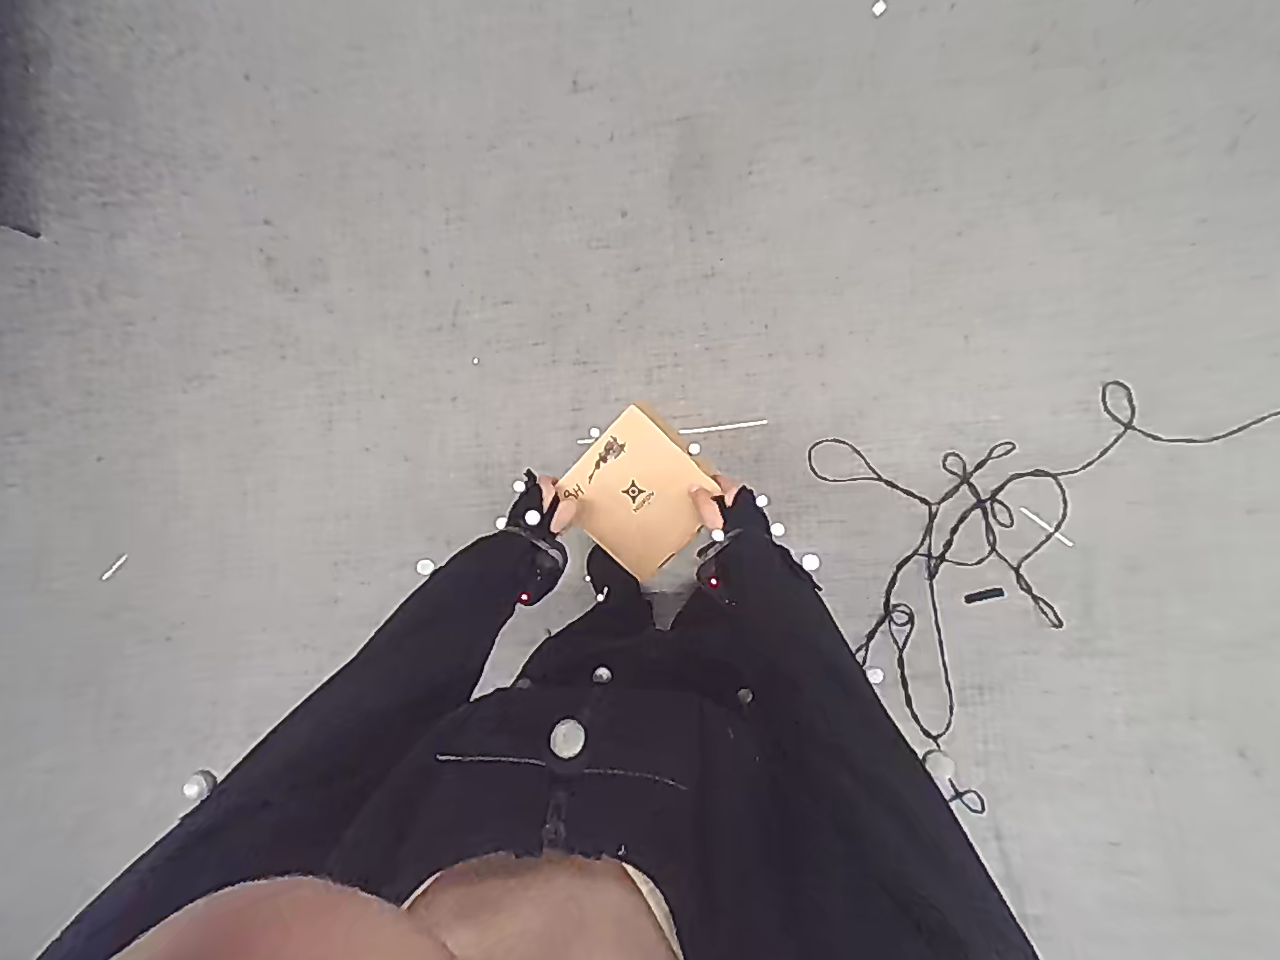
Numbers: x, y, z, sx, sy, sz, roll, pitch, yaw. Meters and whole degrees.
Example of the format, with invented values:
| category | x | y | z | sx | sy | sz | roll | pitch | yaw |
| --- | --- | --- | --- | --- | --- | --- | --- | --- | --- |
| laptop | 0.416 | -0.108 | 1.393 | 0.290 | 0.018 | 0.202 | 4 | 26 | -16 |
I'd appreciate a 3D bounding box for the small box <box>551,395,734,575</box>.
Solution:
| category | x | y | z | sx | sy | sz | roll | pitch | yaw |
| --- | --- | --- | --- | --- | --- | --- | --- | --- | --- |
| small box | 0.008 | -0.005 | 0.757 | 0.179 | 0.176 | 0.168 | 44 | 101 | -5 |
